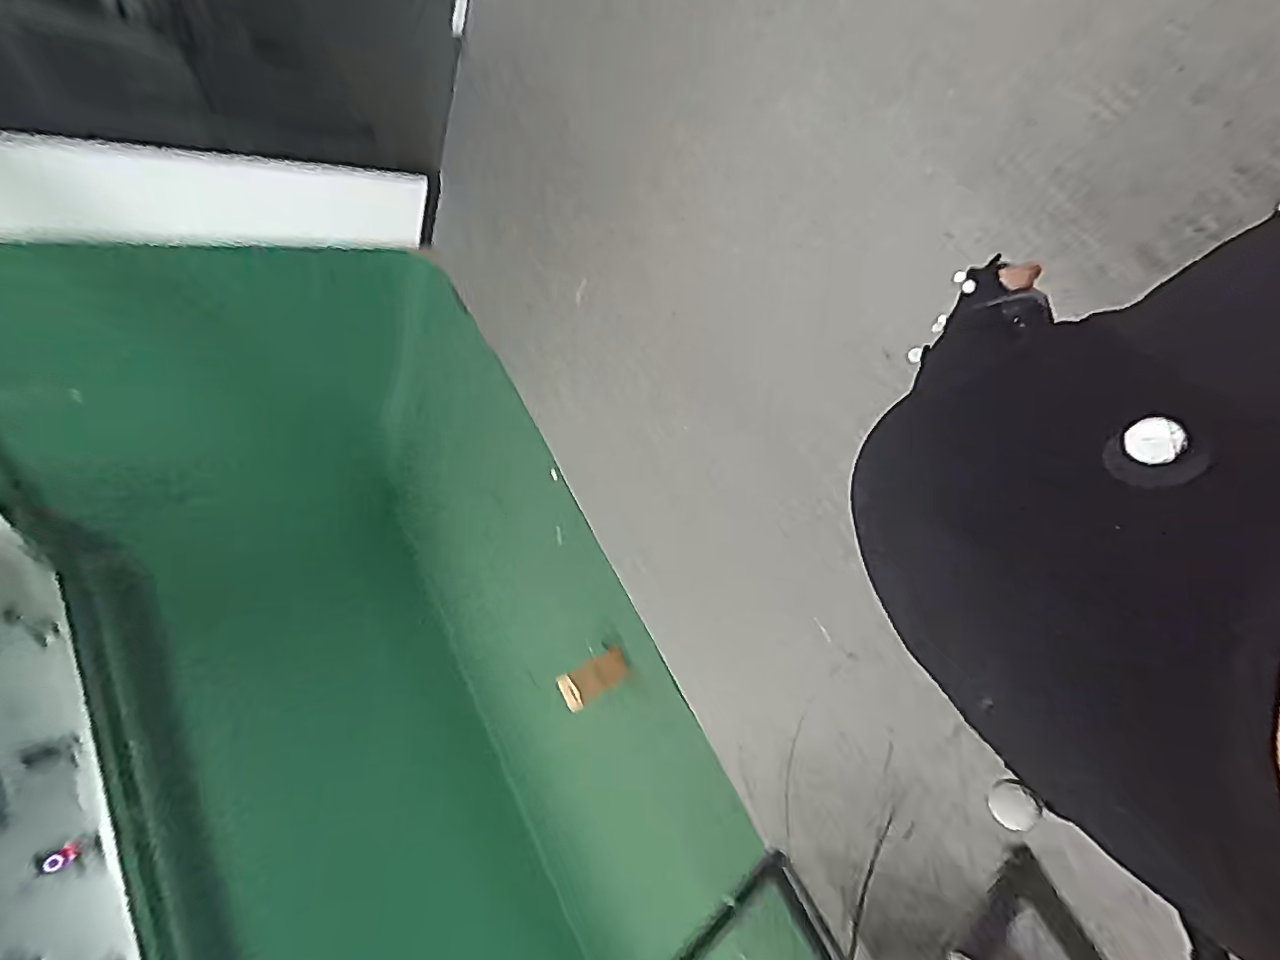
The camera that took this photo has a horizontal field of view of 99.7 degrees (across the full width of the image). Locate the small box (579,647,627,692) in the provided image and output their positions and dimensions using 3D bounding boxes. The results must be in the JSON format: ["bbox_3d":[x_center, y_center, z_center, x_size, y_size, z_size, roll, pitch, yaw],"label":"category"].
[{"bbox_3d":[-0.203,1.032,2.964,0.168,0.176,0.179,-43,70,48],"label":"small box"}]
